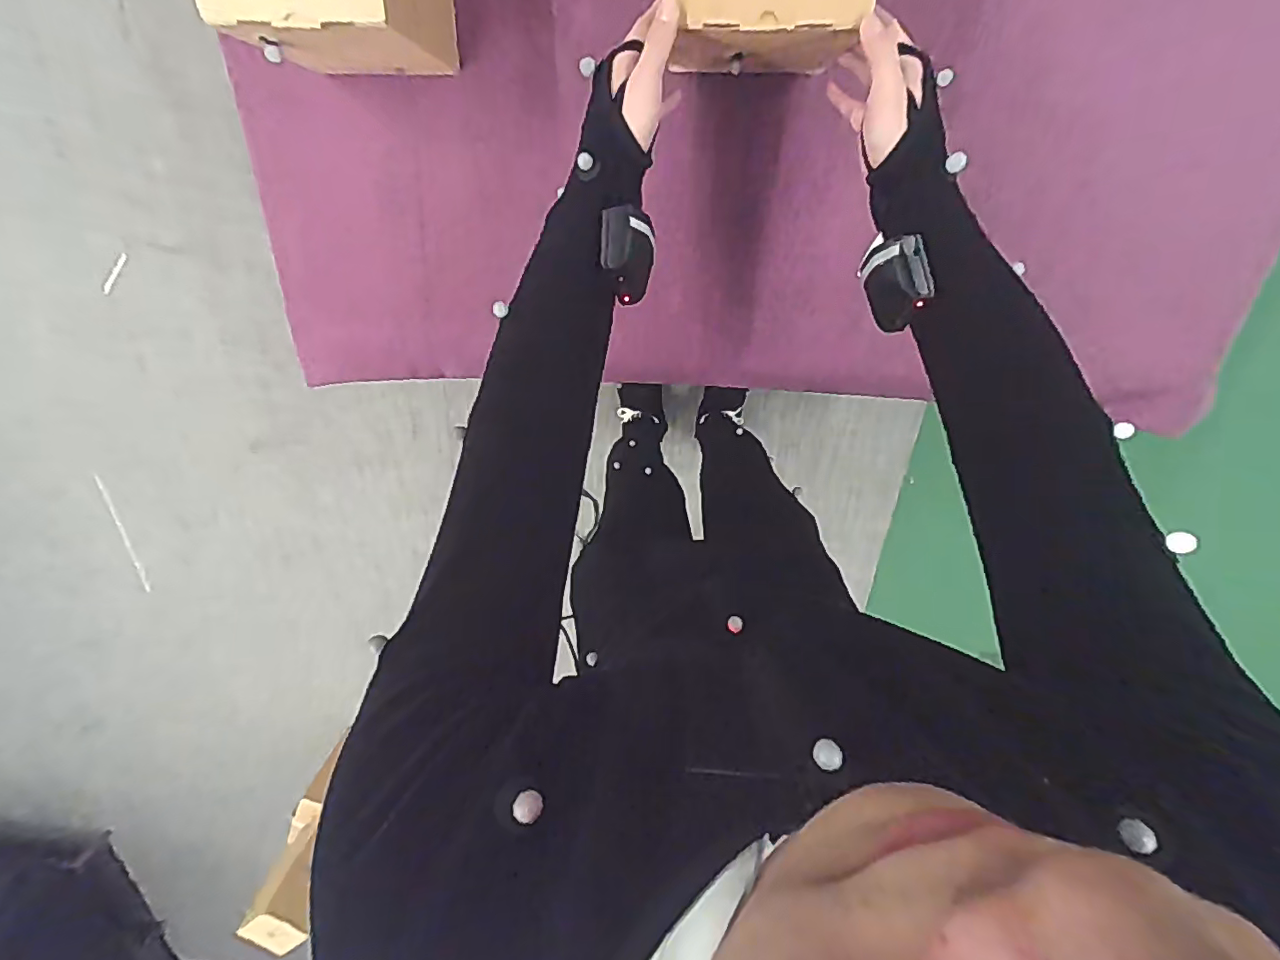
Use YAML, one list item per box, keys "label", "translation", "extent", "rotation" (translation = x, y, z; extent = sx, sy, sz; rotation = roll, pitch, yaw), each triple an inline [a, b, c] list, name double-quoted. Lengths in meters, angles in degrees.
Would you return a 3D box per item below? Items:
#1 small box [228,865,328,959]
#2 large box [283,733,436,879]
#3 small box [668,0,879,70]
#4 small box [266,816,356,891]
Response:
- label: "small box"
  translation: [-1.140, 1.377, 1.718]
  extent: [0.179, 0.176, 0.168]
  rotation: [-41, 106, 18]
- label: "large box"
  translation: [-1.086, 1.268, 2.118]
  extent: [0.408, 0.320, 0.320]
  rotation: [25, 115, -9]
- label: "small box"
  translation: [0.111, -0.476, 0.460]
  extent: [0.168, 0.176, 0.179]
  rotation: [2, 119, 2]
- label: "small box"
  translation: [-1.127, 1.310, 1.869]
  extent: [0.179, 0.176, 0.168]
  rotation: [-40, 107, 19]
